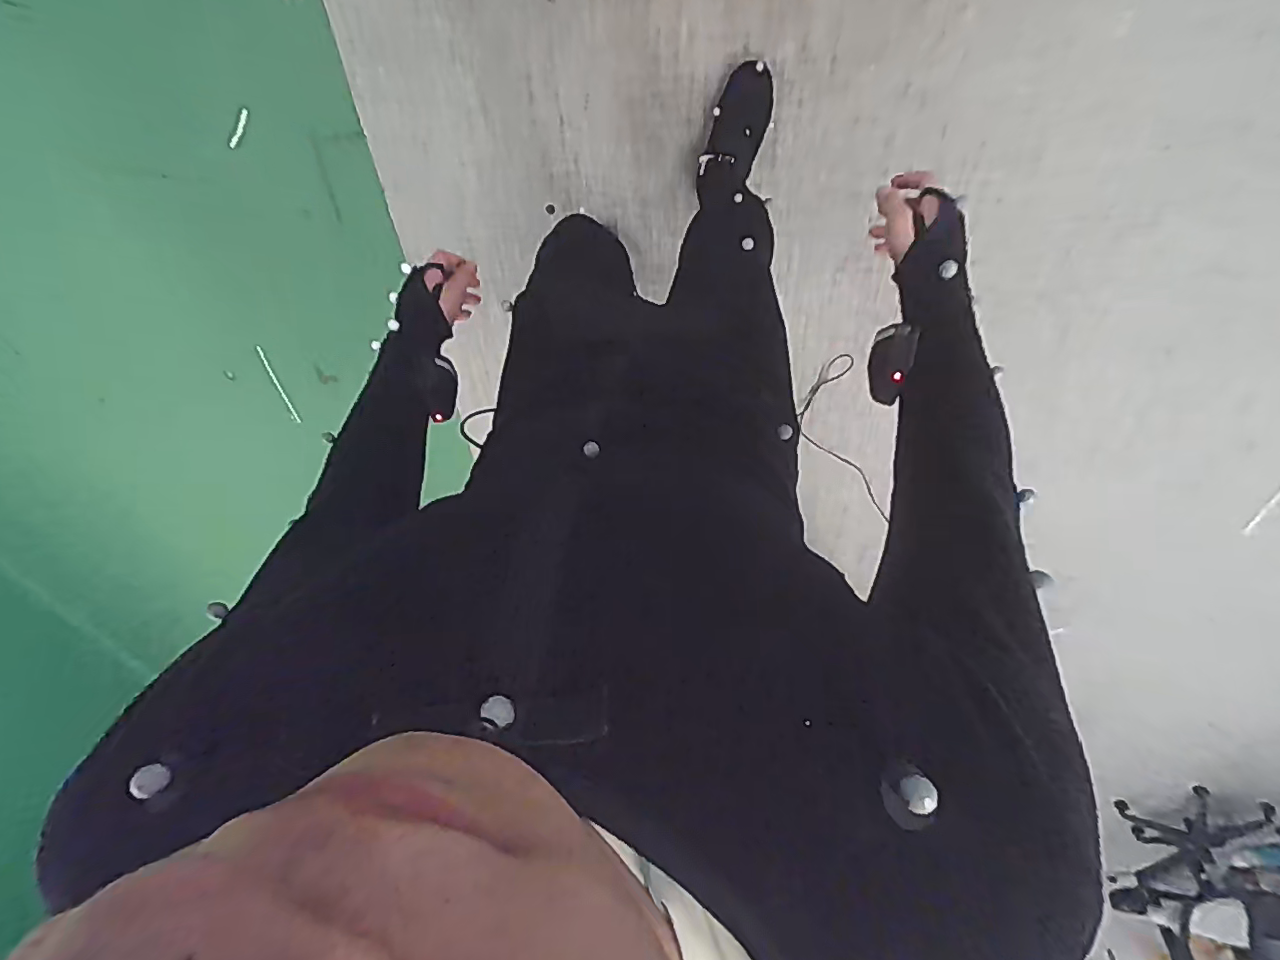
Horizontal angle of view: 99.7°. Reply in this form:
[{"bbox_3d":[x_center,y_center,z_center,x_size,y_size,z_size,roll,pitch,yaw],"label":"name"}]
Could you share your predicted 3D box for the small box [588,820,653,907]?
[{"bbox_3d":[-0.053,1.142,1.617,0.168,0.176,0.179,4,132,9],"label":"small box"}]
